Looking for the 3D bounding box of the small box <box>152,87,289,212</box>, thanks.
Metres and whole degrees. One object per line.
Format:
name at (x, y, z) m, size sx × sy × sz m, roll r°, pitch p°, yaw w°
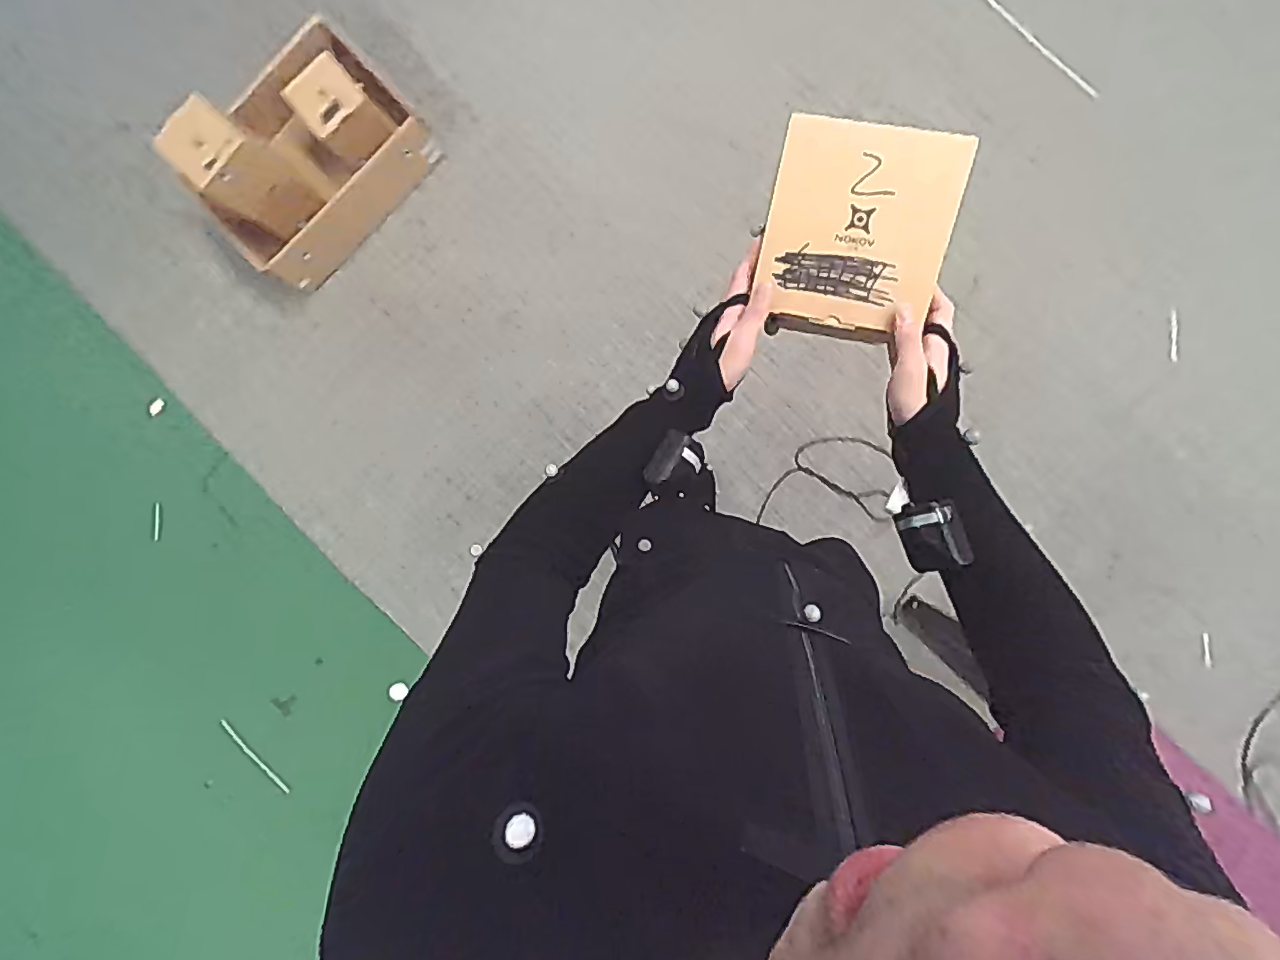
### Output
small box at (-1.055, -0.827, 1.374) m, size 0.179 × 0.176 × 0.168 m, roll 44°, pitch 95°, yaw 2°
